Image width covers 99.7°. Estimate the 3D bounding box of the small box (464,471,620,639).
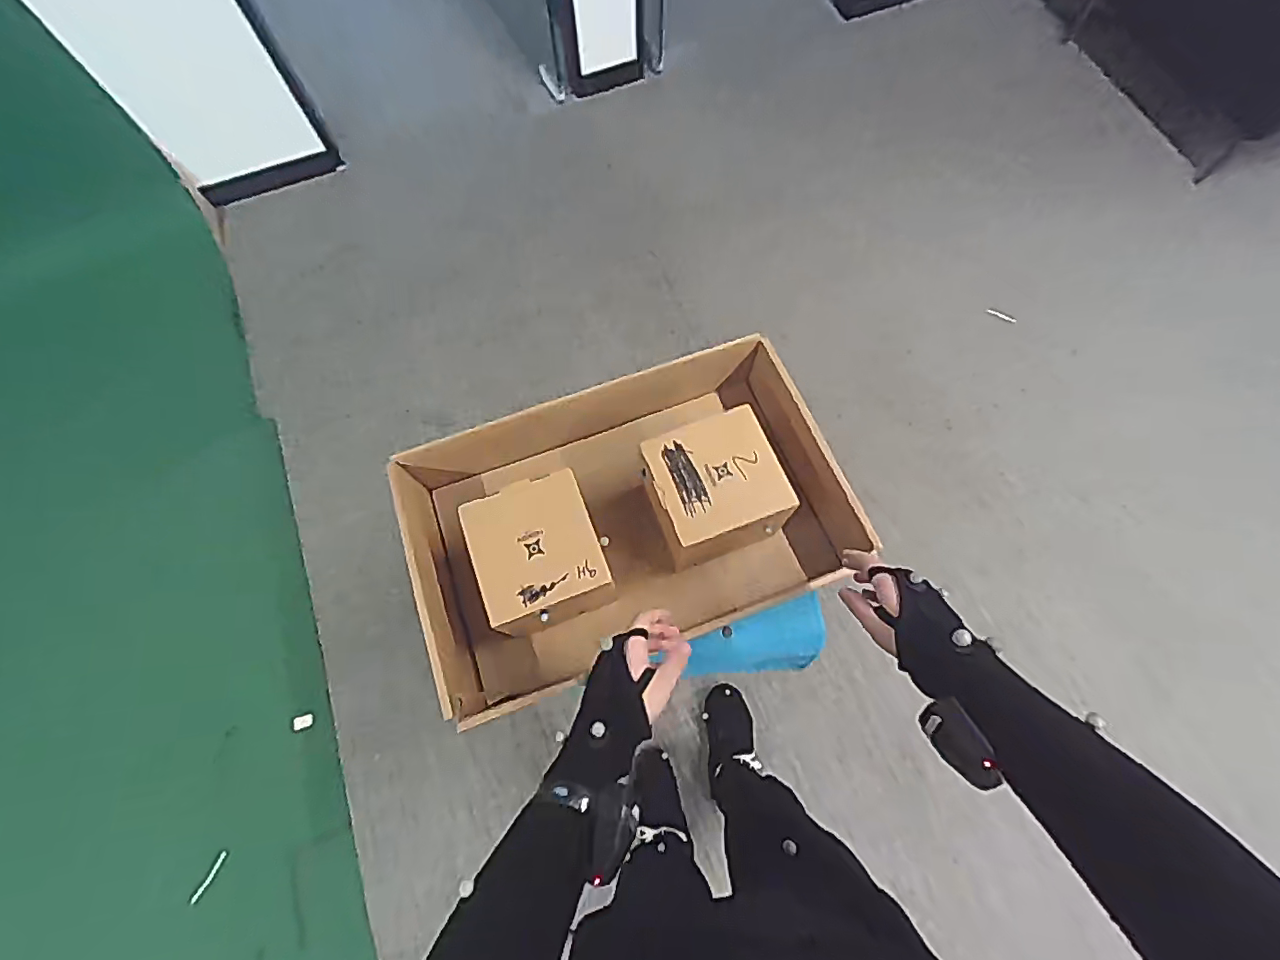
[{"bbox_3d":[-0.135,0.116,0.791,0.168,0.176,0.179,-20,69,-6],"label":"small box"}]
